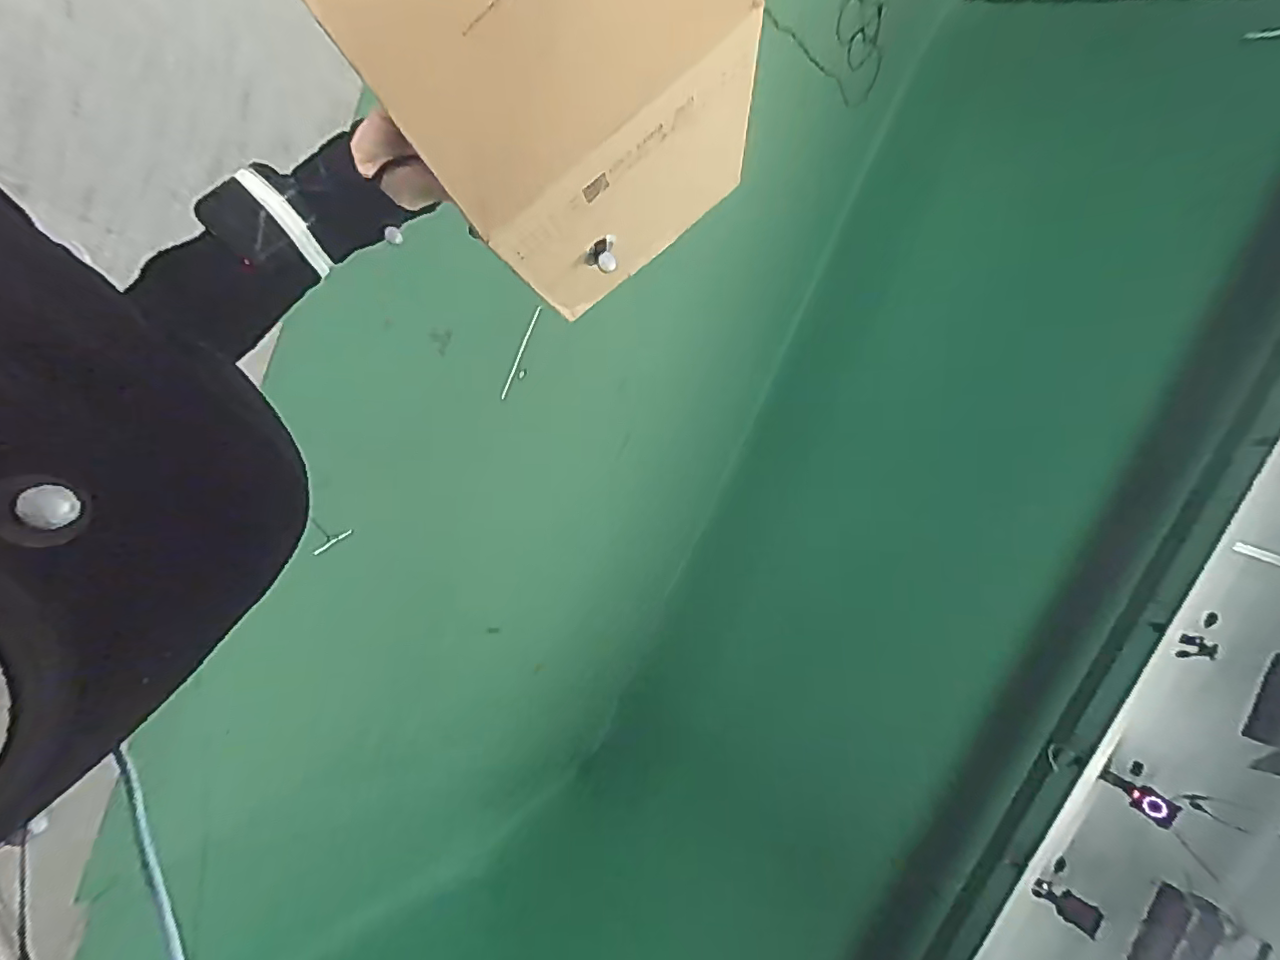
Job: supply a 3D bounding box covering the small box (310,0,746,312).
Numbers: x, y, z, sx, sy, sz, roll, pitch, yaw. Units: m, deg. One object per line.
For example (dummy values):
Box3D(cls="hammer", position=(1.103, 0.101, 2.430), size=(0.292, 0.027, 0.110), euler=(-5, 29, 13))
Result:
Box3D(cls="small box", position=(-0.051, -0.239, 0.328), size=(0.168, 0.179, 0.176), euler=(-39, 179, 7))
